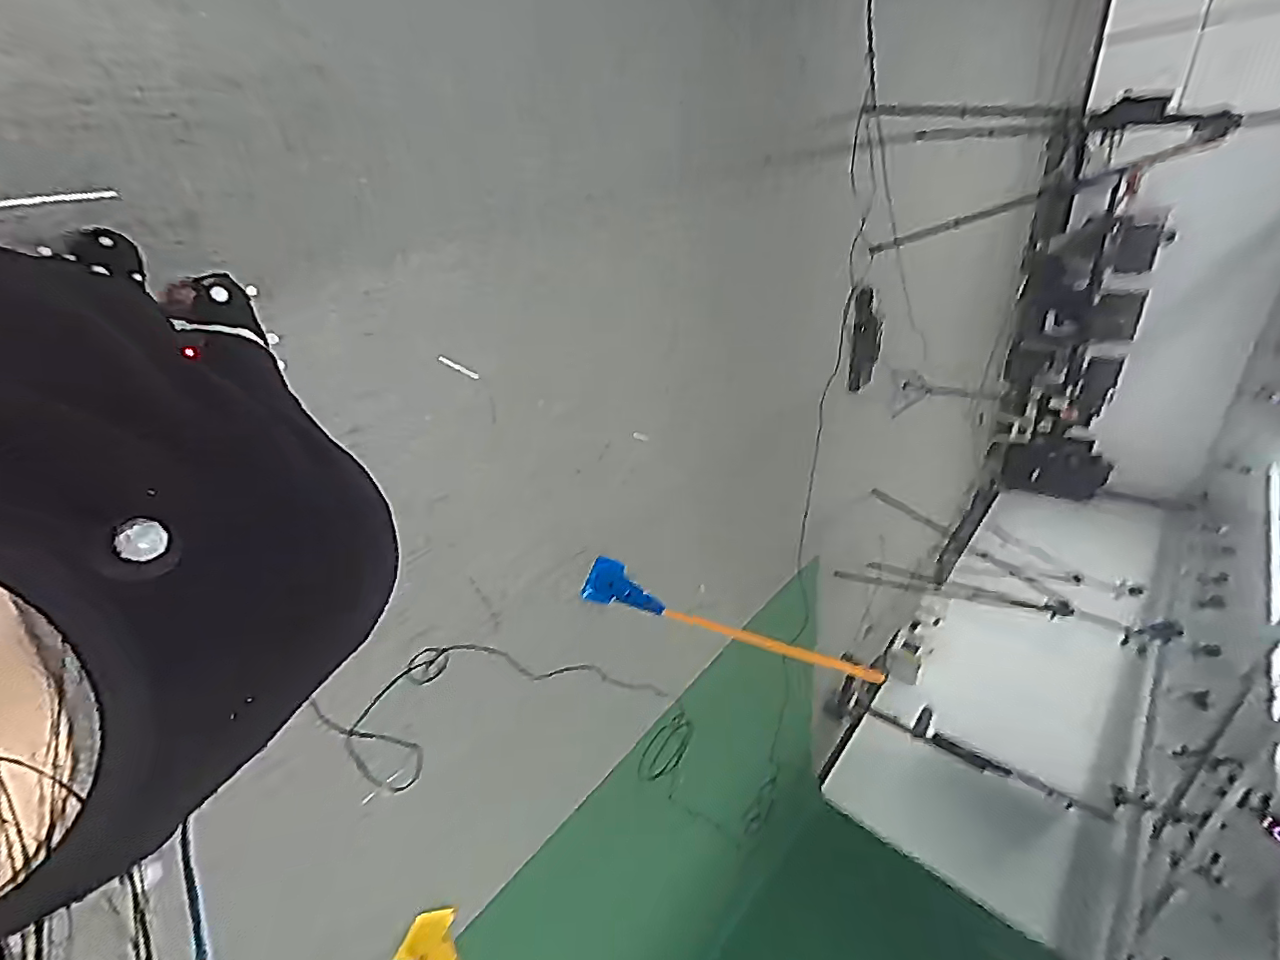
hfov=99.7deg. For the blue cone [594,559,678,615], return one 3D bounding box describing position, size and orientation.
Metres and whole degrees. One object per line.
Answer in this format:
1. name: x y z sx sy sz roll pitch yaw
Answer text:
1. blue cone: 0.000 0.475 2.244 0.192 0.380 0.193 27 83 -48
